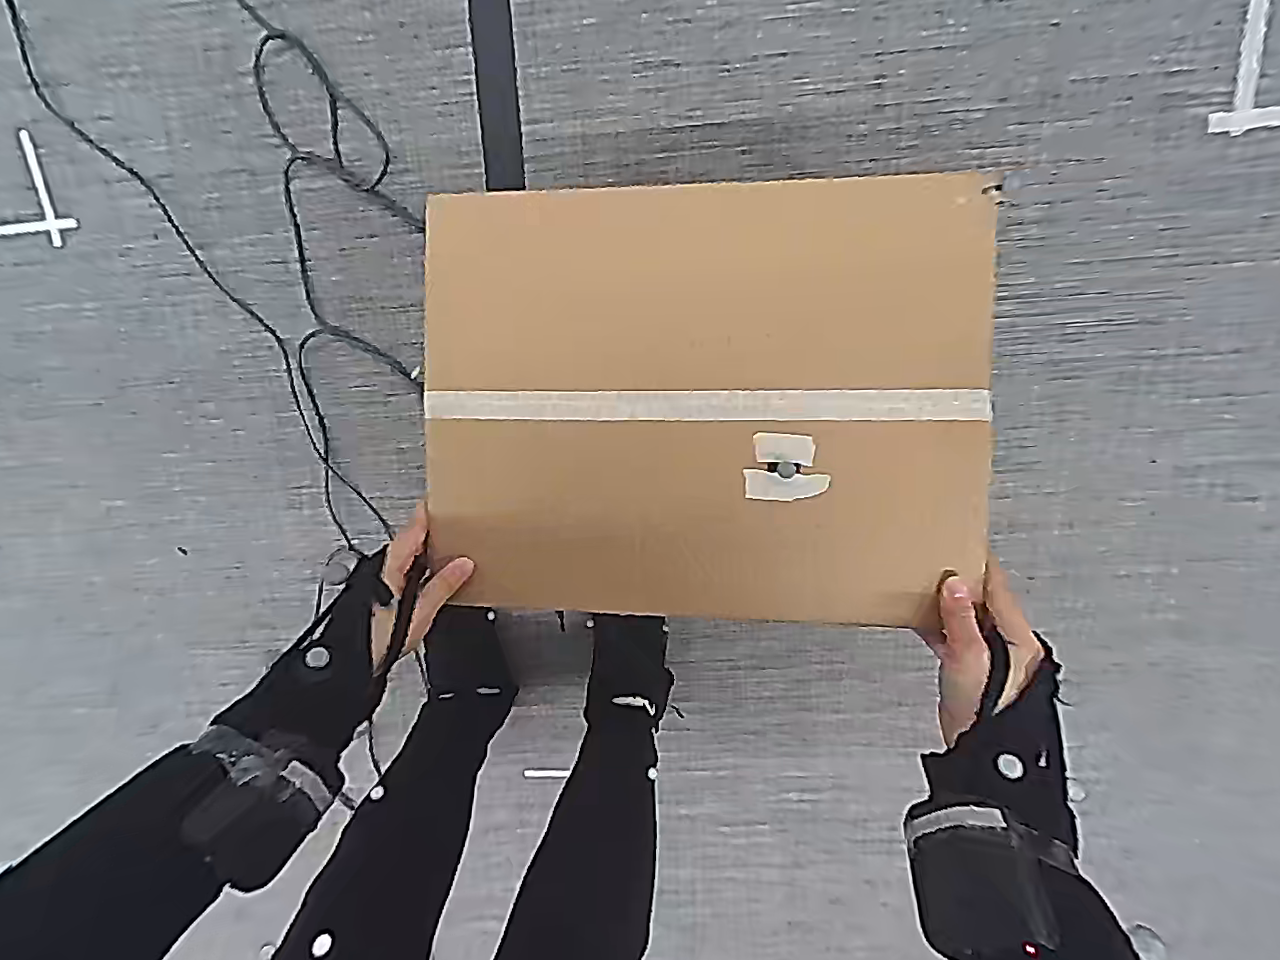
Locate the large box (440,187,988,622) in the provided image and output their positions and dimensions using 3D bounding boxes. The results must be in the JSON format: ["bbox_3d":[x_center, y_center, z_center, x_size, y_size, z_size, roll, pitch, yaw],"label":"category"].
[{"bbox_3d":[0.058,-0.057,0.548,0.408,0.320,0.320,1,94,6],"label":"large box"}]
